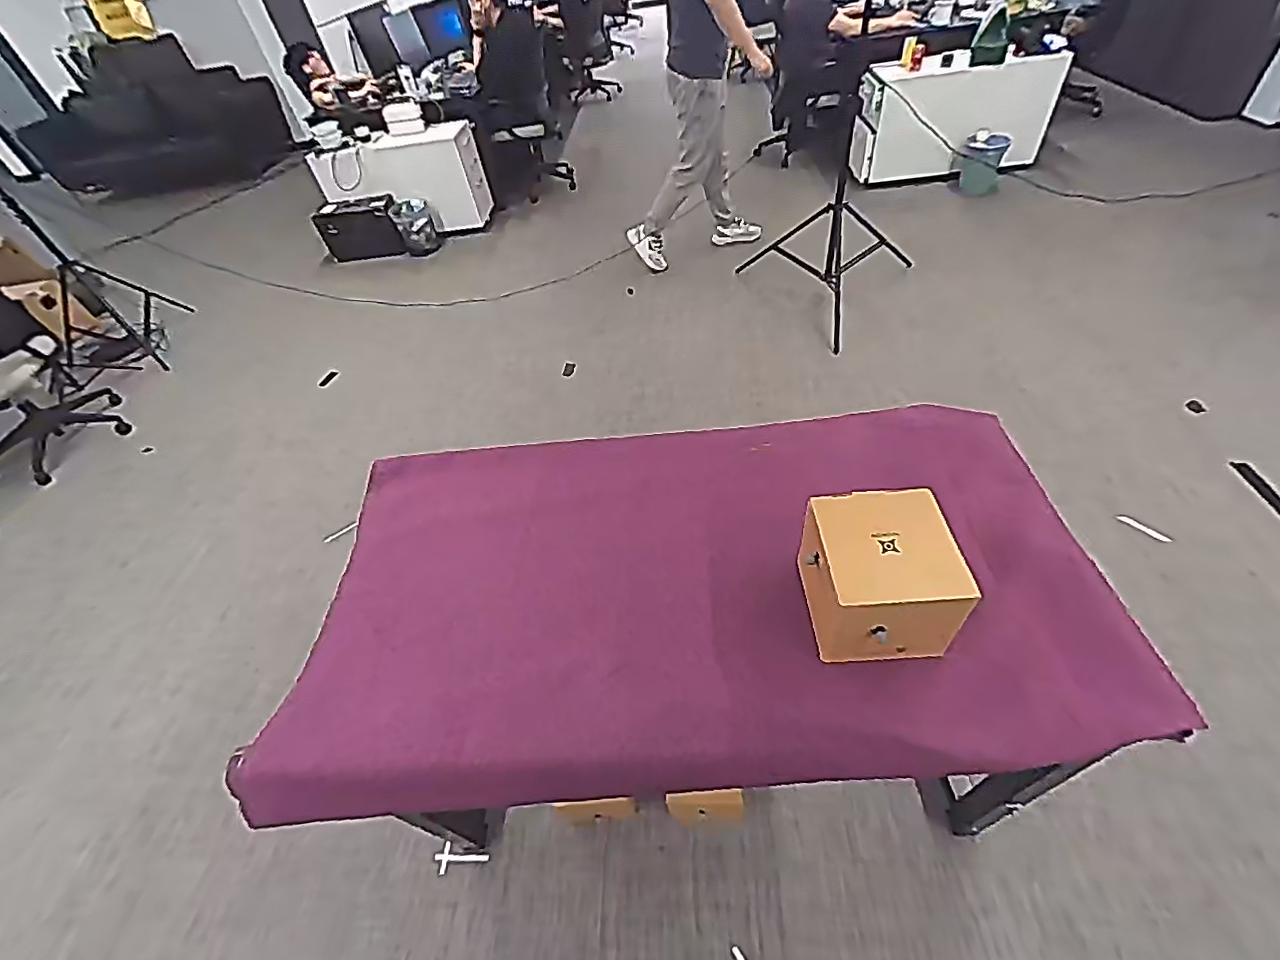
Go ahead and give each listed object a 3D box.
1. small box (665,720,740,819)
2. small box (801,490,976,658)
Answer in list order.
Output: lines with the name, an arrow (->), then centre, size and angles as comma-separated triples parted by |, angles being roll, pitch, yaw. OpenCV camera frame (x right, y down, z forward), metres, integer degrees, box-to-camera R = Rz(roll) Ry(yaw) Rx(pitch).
small box -> 0.150, 0.689, 1.282 | 0.168, 0.176, 0.179 | -2, 47, 6
small box -> 0.331, 0.139, 0.762 | 0.168, 0.176, 0.179 | -5, 47, 5
